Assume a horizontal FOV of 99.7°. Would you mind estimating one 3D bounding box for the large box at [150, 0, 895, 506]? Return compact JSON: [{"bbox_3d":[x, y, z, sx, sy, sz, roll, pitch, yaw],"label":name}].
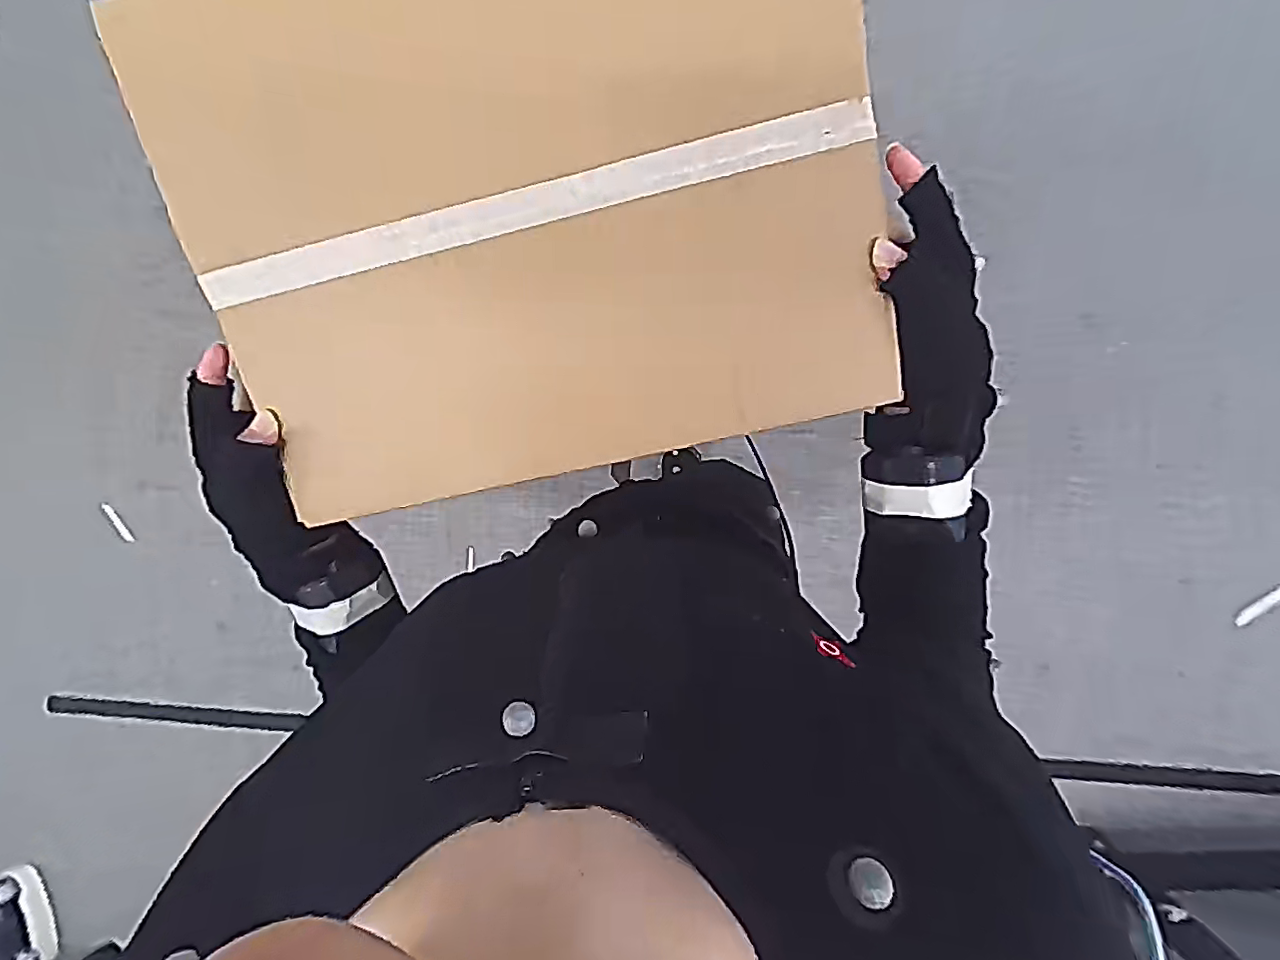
[{"bbox_3d":[-0.057,-0.200,0.472,0.408,0.320,0.320,-11,104,5],"label":"large box"}]
